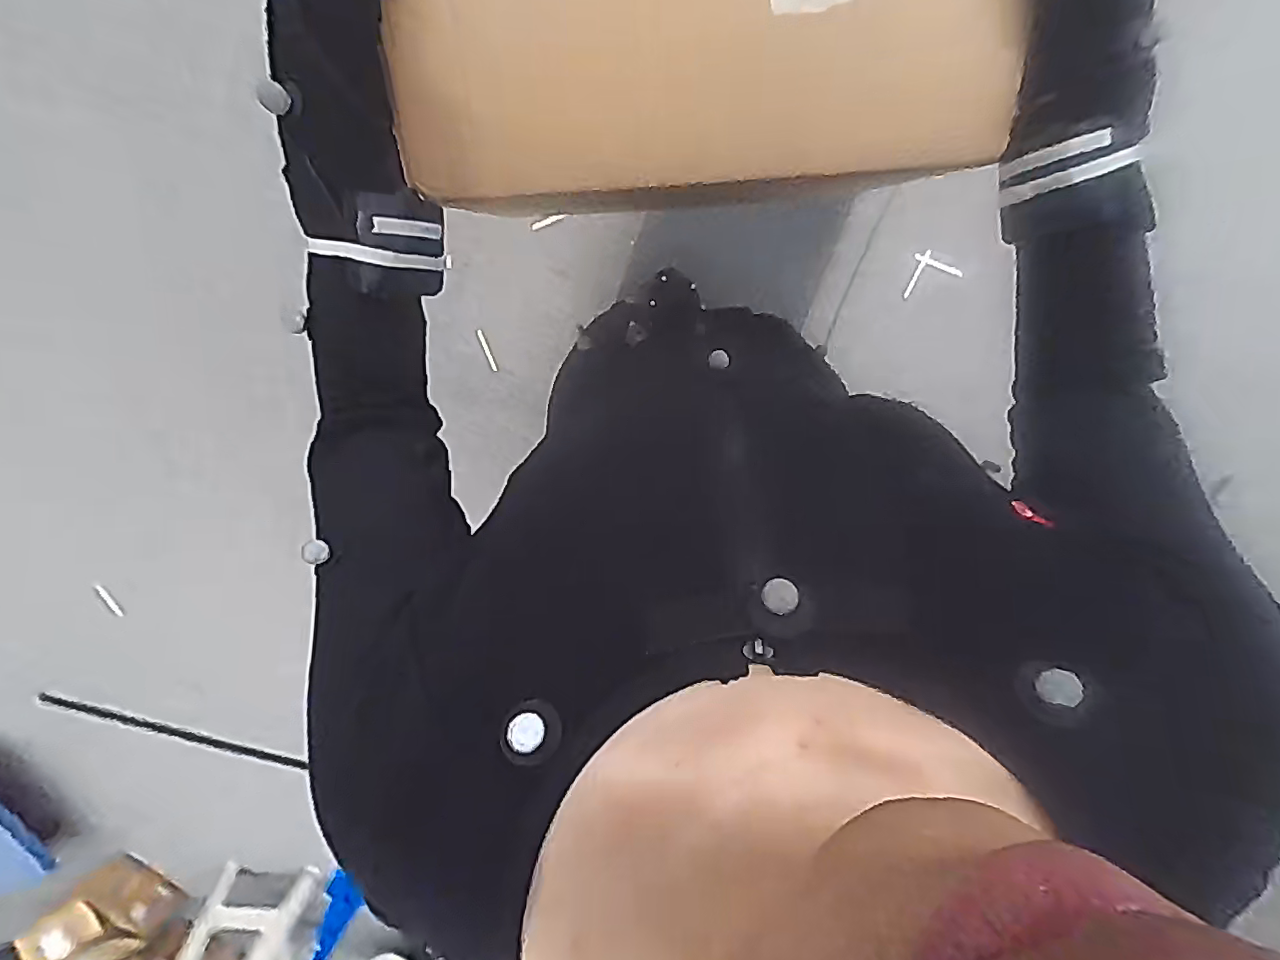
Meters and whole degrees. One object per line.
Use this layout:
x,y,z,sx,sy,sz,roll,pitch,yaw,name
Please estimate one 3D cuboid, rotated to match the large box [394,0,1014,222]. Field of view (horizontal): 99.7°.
0.034,-0.411,0.460,0.408,0.320,0.320,-3,114,0,large box
